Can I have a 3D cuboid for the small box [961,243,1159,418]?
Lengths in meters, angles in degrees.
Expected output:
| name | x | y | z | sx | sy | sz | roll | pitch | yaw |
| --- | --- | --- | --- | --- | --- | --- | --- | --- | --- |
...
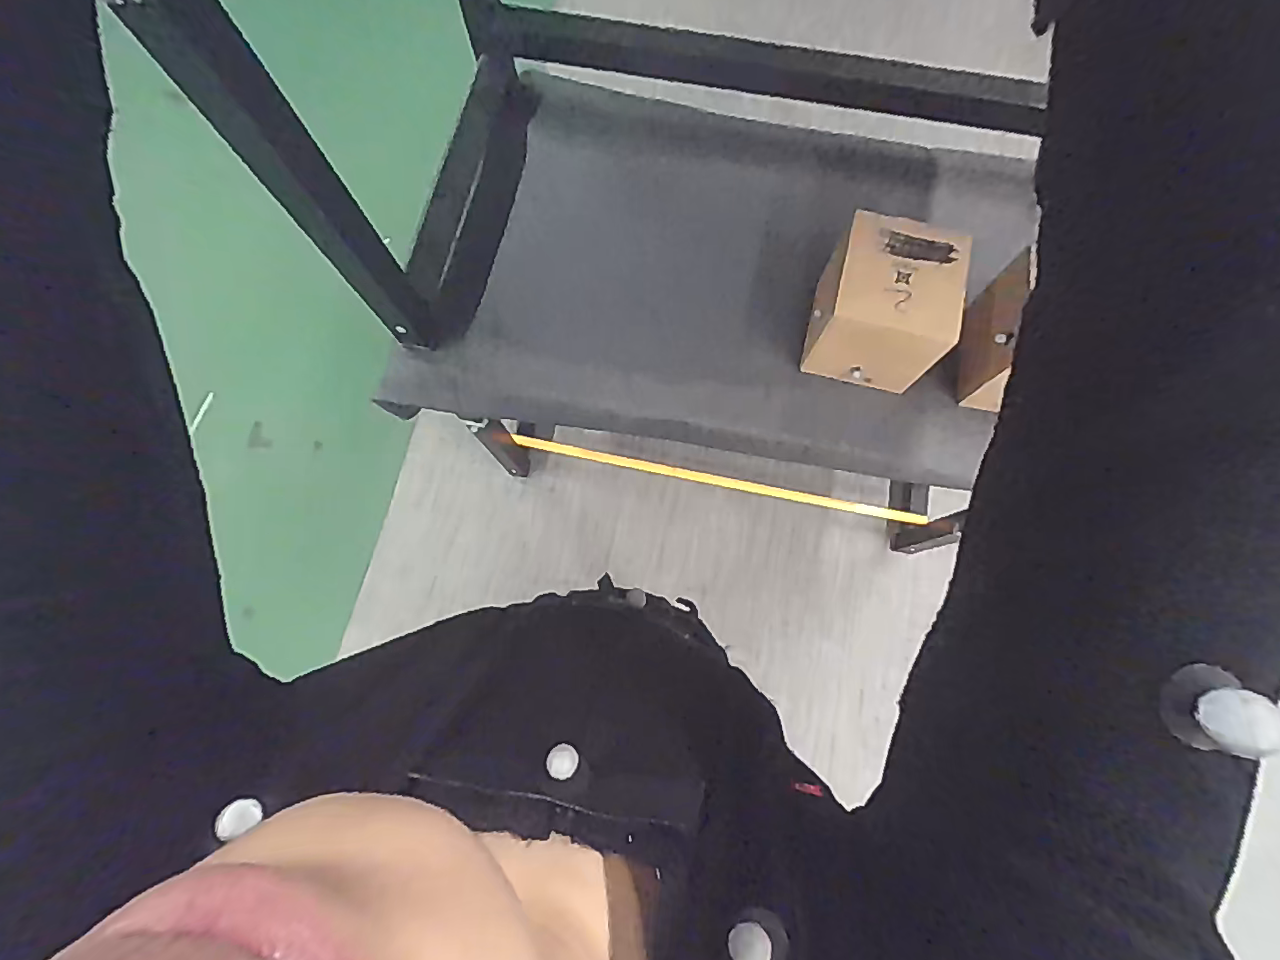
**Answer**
| name | x | y | z | sx | sy | sz | roll | pitch | yaw |
| --- | --- | --- | --- | --- | --- | --- | --- | --- | --- |
| small box | 0.599 | -0.208 | 0.793 | 0.168 | 0.176 | 0.179 | 11 | 74 | 3 |
